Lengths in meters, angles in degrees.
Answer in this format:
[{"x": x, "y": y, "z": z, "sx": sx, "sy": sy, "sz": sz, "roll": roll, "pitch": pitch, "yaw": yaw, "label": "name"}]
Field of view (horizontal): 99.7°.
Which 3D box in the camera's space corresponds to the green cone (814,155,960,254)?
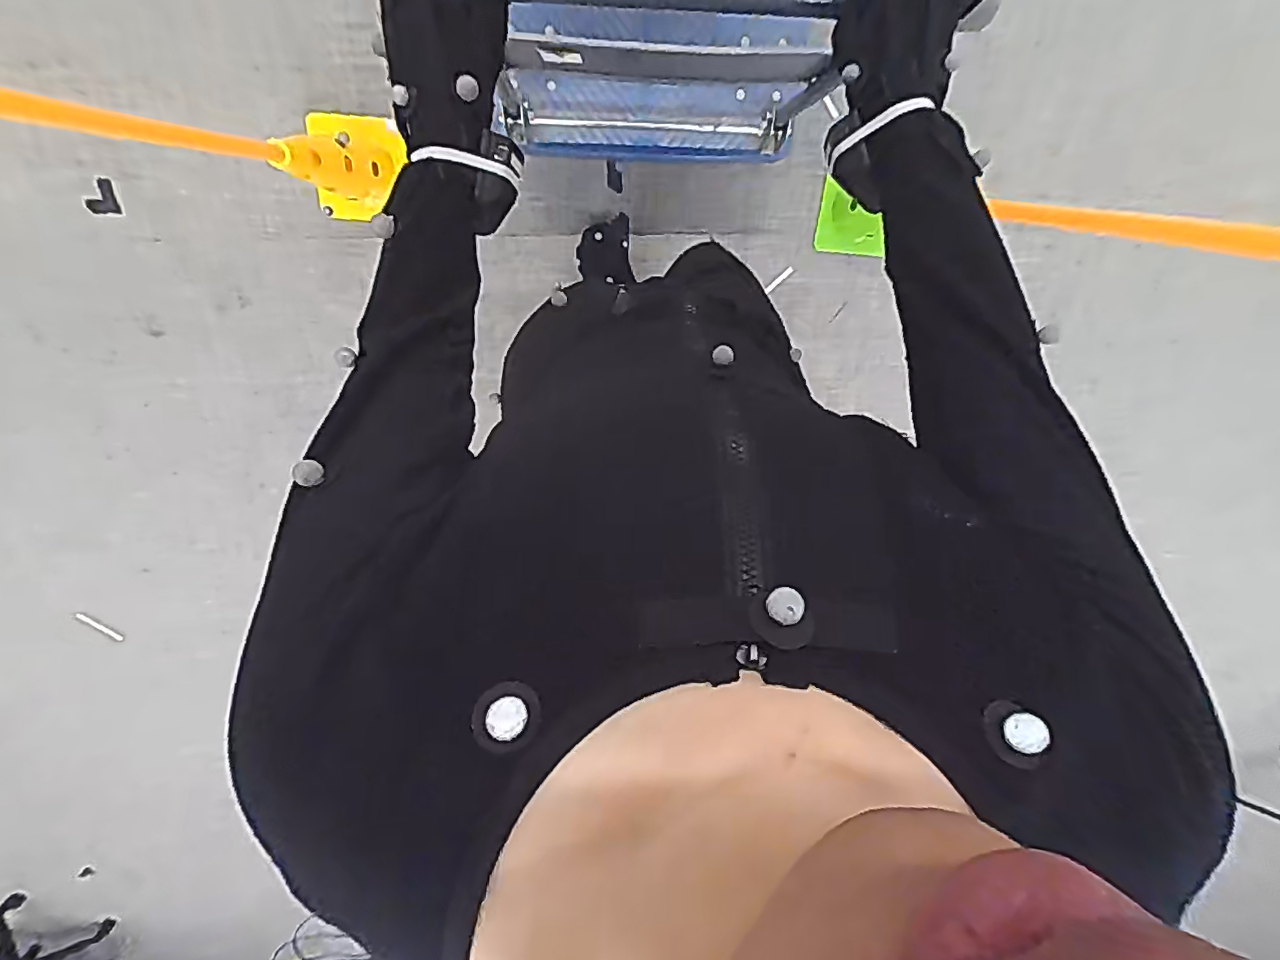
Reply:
[{"x": 0.534, "y": -0.572, "z": 1.124, "sx": 0.202, "sy": 0.368, "sz": 0.200, "roll": 1, "pitch": 116, "yaw": -6, "label": "green cone"}]
